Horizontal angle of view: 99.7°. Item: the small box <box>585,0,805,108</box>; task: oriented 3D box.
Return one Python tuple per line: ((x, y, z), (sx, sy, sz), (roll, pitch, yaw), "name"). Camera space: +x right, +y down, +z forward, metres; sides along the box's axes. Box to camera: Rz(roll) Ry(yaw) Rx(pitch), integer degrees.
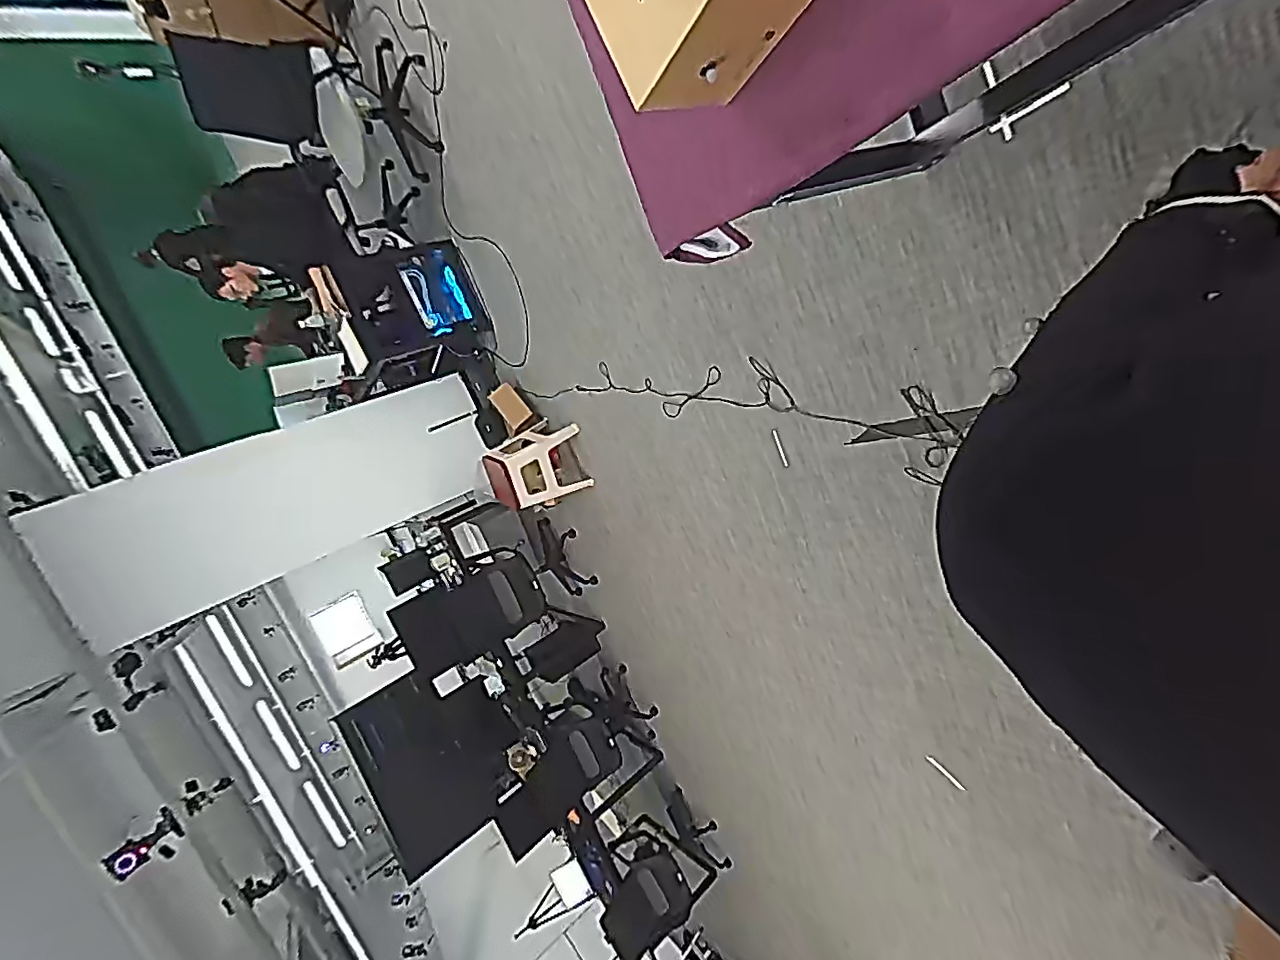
((0.060, -0.568, 0.612), (0.168, 0.176, 0.179), (-21, 96, 59), "small box")
